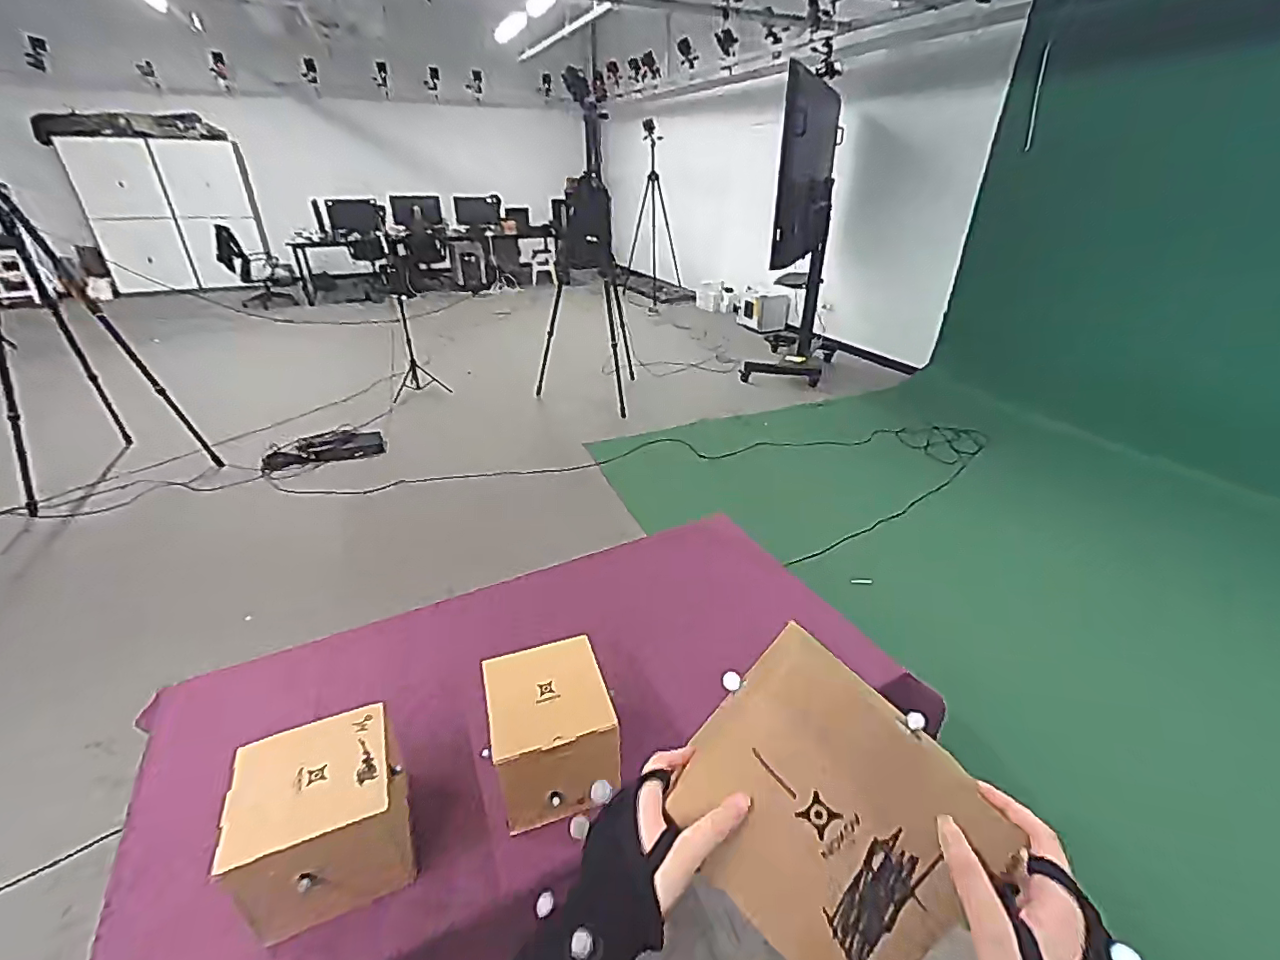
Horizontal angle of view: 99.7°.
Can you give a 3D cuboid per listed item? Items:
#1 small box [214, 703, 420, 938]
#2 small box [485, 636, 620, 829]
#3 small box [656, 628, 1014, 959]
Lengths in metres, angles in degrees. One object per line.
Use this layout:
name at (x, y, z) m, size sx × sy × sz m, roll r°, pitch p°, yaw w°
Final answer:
small box at (-0.401, 0.435, 0.700) m, size 0.179 × 0.176 × 0.168 m, roll -14°, pitch 34°, yaw -21°
small box at (-0.133, 0.372, 0.812) m, size 0.168 × 0.176 × 0.179 m, roll -10°, pitch 32°, yaw -17°
small box at (0.144, 0.240, 0.444) m, size 0.179 × 0.168 × 0.176 m, roll 41°, pitch 1°, yaw 17°
